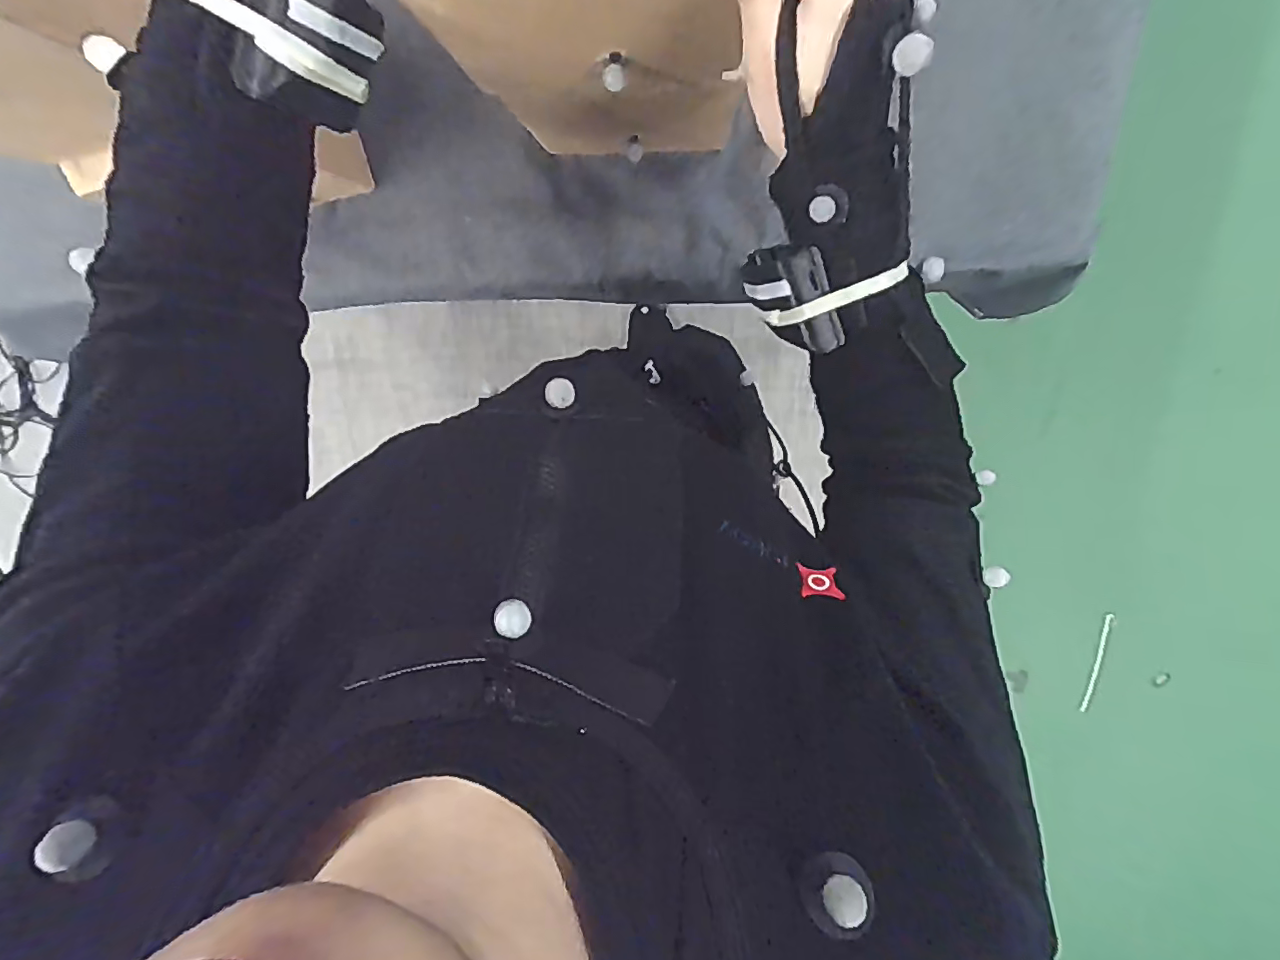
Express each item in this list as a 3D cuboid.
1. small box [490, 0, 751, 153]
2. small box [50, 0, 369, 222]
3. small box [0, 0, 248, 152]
[{"bbox_3d":[-0.011,-0.372,0.425,0.179,0.176,0.168,0,108,3],"label":"small box"},{"bbox_3d":[-0.372,-0.339,0.461,0.168,0.176,0.179,-10,108,7],"label":"small box"},{"bbox_3d":[-0.380,-0.304,0.302,0.179,0.176,0.168,-7,109,5],"label":"small box"}]
